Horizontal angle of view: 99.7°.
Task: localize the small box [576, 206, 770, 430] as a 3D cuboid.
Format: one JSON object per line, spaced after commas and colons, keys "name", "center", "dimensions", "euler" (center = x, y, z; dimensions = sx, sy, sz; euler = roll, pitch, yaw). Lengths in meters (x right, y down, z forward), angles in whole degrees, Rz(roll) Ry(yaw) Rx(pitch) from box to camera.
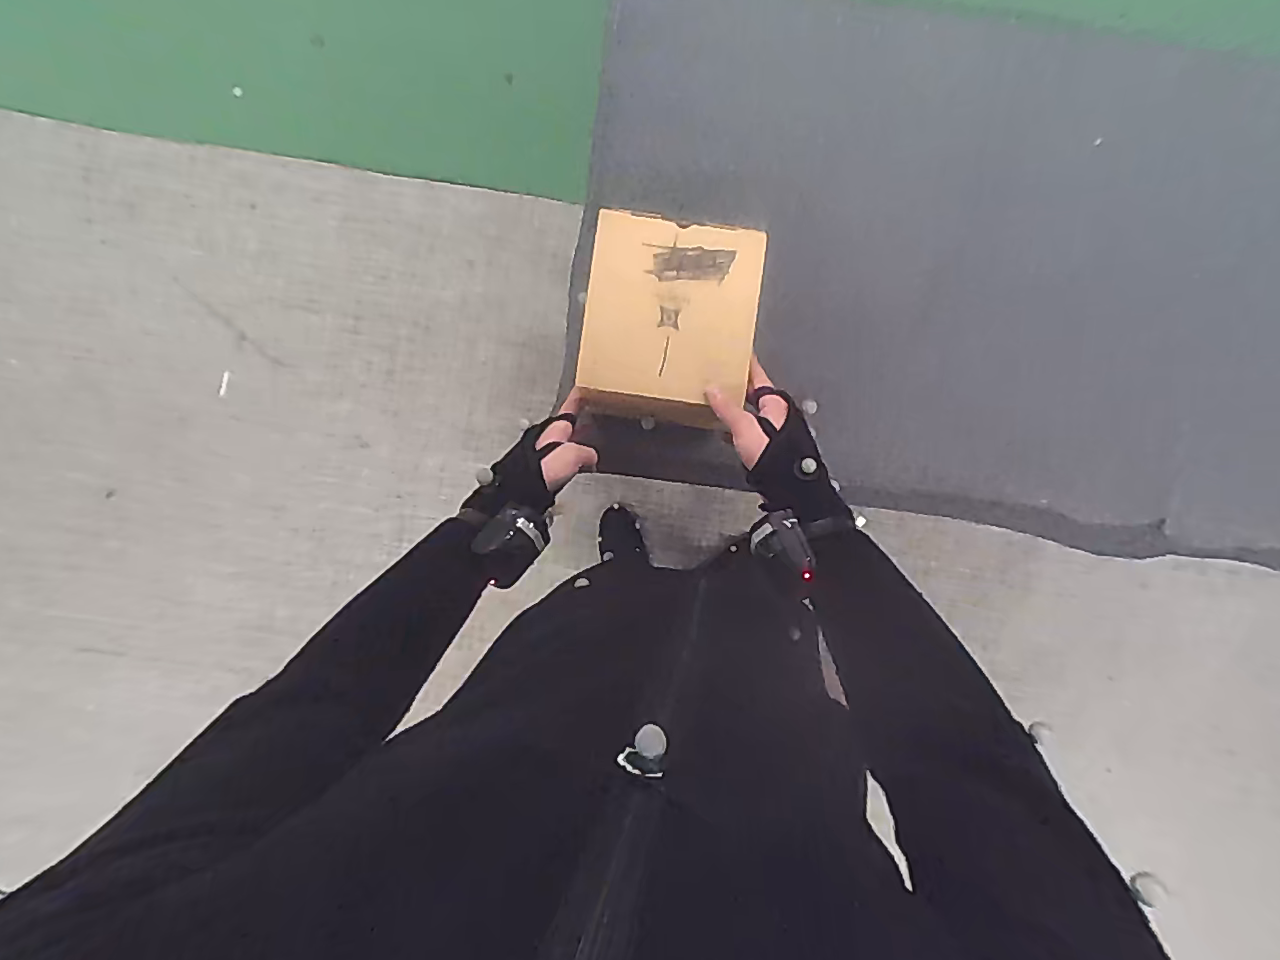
{"name": "small box", "center": [0.030, -0.160, 0.589], "dimensions": [0.168, 0.176, 0.179], "euler": [8, 88, 0]}
